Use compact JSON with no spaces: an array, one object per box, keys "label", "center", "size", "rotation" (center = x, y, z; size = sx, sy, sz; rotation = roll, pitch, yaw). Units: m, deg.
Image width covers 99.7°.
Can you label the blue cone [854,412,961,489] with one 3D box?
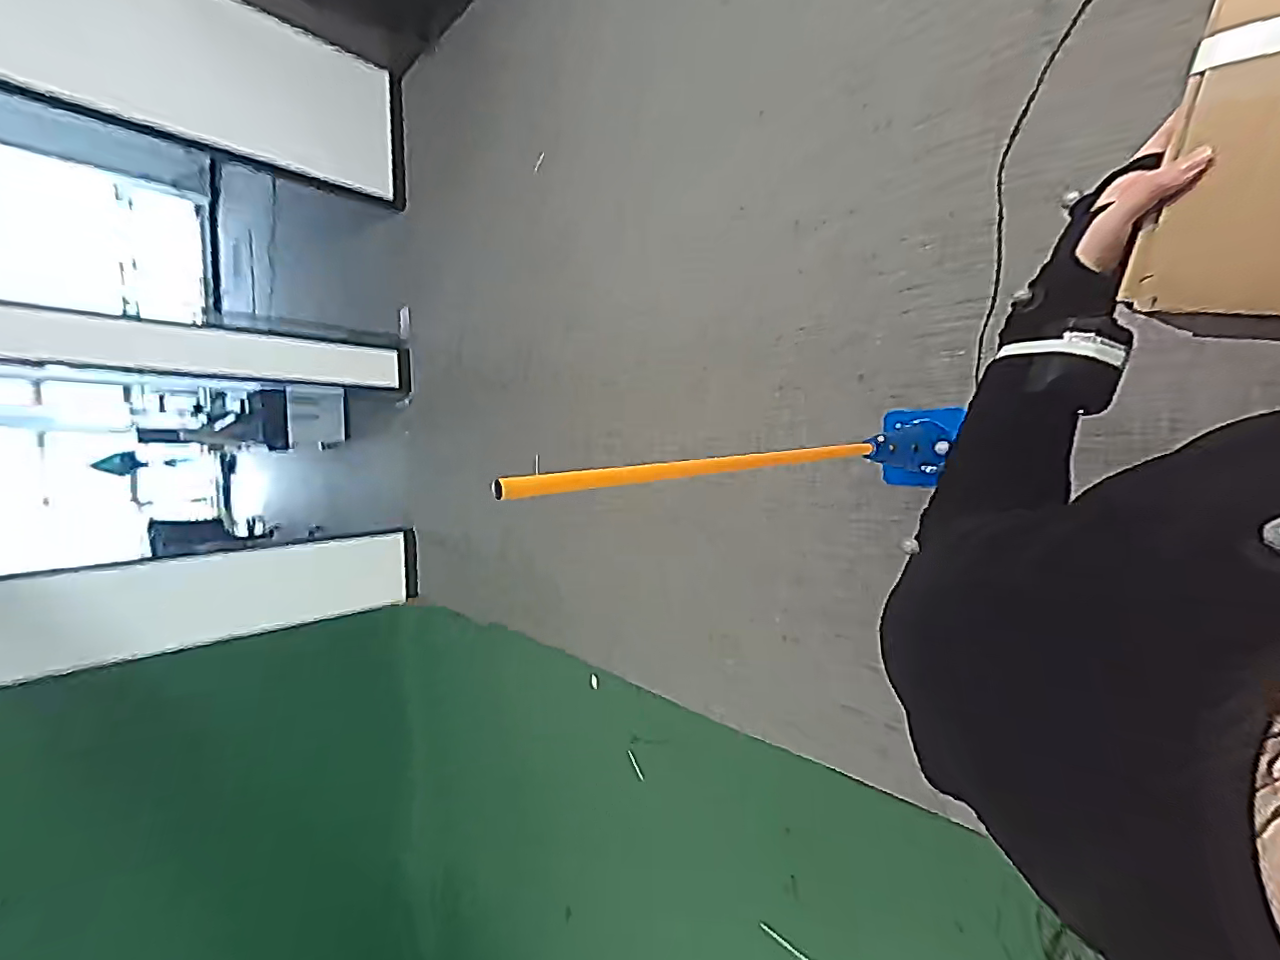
[{"label":"blue cone","center":[0.604,-0.066,1.278],"size":[0.193,0.380,0.192],"rotation":[0,92,46]}]
